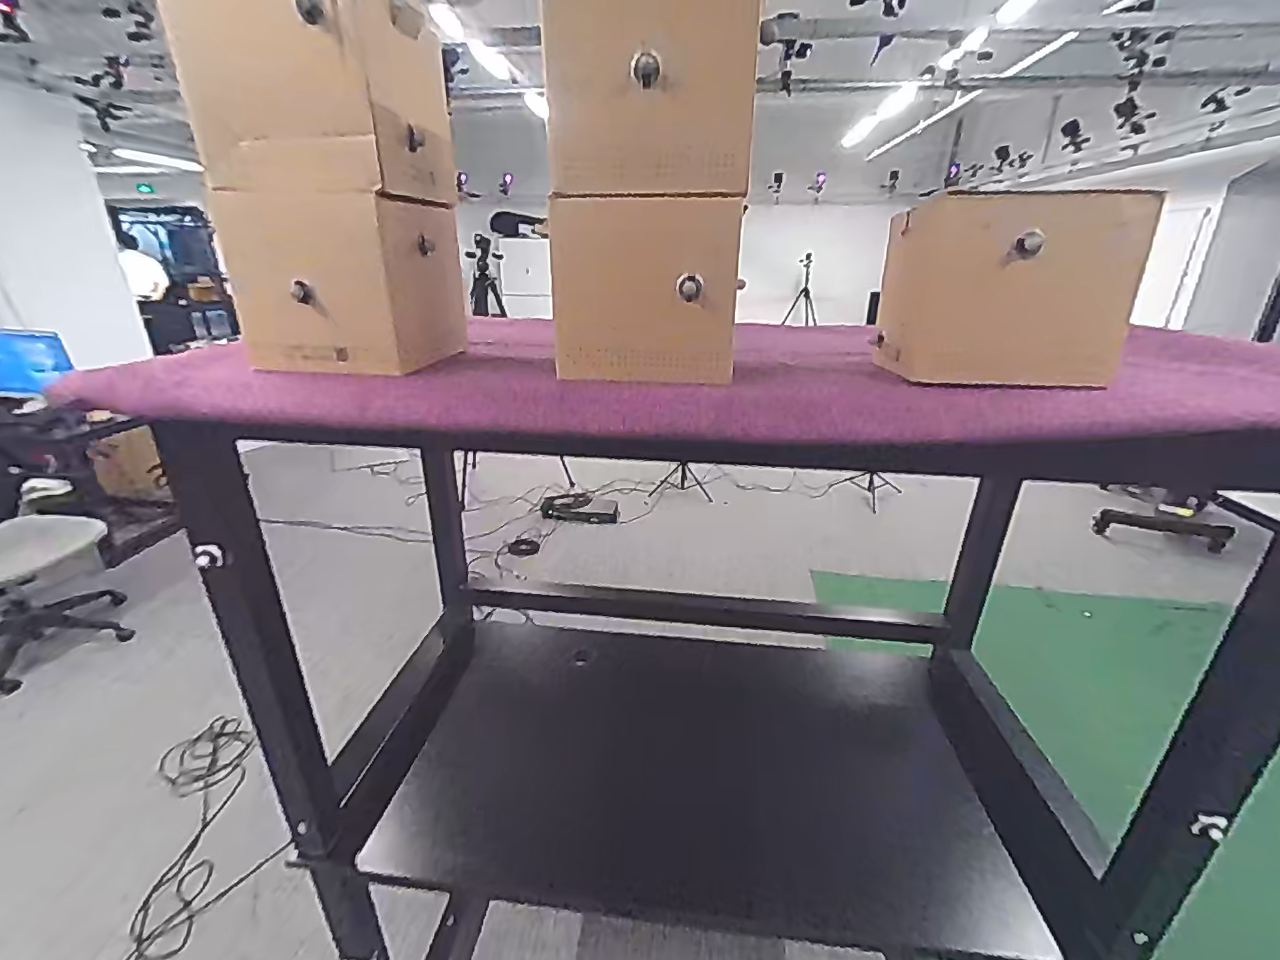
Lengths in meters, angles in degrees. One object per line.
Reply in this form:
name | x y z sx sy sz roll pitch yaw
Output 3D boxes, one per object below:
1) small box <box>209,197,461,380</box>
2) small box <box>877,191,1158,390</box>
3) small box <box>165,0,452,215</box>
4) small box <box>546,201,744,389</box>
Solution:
small box | -0.310 -0.211 0.597 0.168 0.176 0.179 4 23 4
small box | 0.359 -0.189 0.560 0.179 0.176 0.168 3 20 7
small box | -0.306 -0.361 0.534 0.179 0.176 0.168 3 24 4
small box | 0.010 -0.194 0.574 0.179 0.176 0.168 2 22 5
